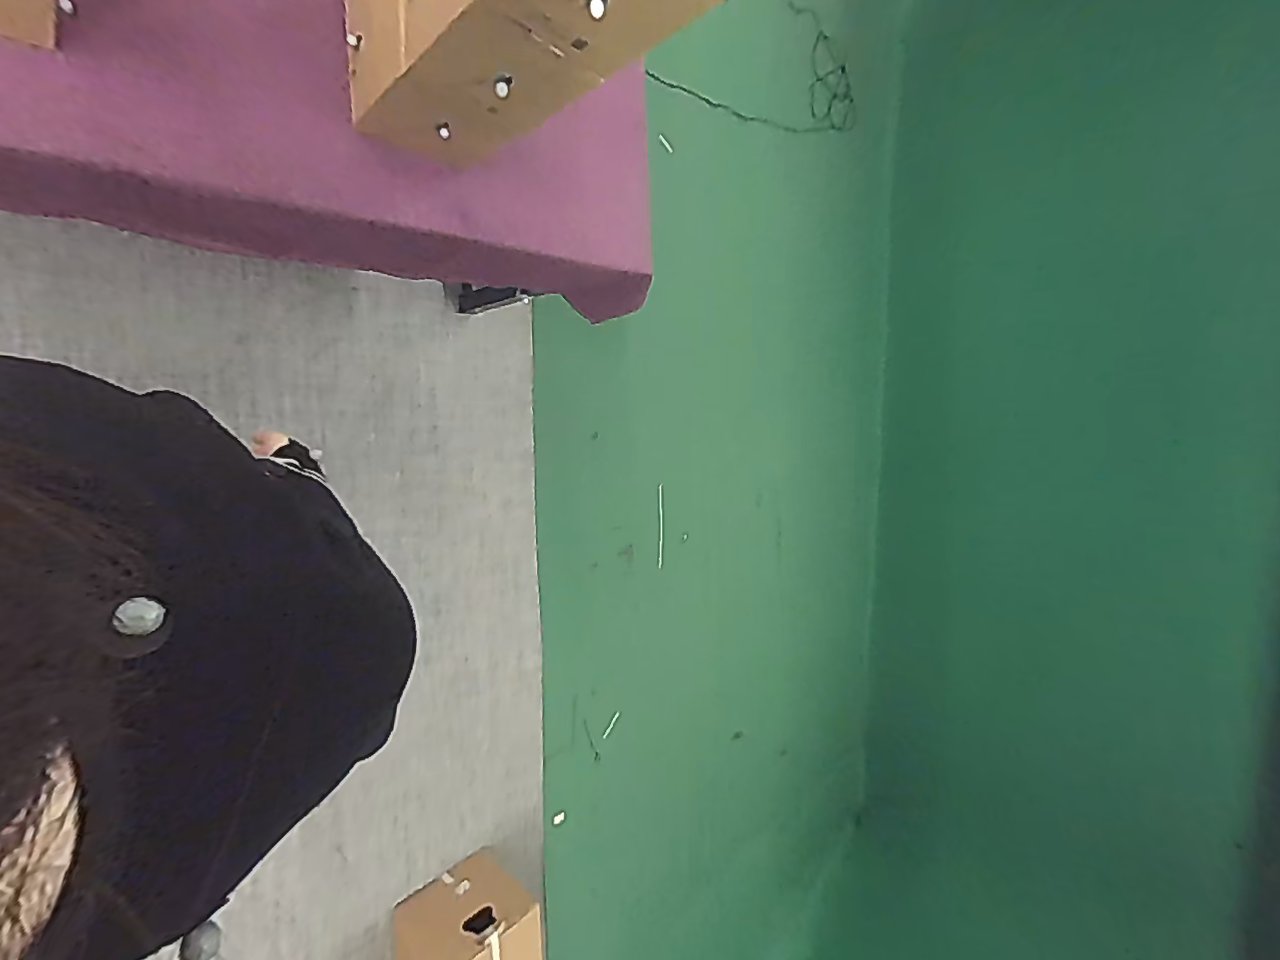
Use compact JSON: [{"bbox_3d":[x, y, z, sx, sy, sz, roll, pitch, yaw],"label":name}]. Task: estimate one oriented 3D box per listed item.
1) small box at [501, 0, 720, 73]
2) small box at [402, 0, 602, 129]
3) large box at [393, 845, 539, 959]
[{"bbox_3d":[-0.037,-0.532,0.500,0.168,0.176,0.179,-4,96,-46],"label":"small box"},{"bbox_3d":[-0.155,-0.544,0.615,0.168,0.176,0.179,-3,96,-46],"label":"small box"},{"bbox_3d":[-0.521,1.446,1.640,0.320,0.320,0.408,-9,102,-46],"label":"large box"}]
